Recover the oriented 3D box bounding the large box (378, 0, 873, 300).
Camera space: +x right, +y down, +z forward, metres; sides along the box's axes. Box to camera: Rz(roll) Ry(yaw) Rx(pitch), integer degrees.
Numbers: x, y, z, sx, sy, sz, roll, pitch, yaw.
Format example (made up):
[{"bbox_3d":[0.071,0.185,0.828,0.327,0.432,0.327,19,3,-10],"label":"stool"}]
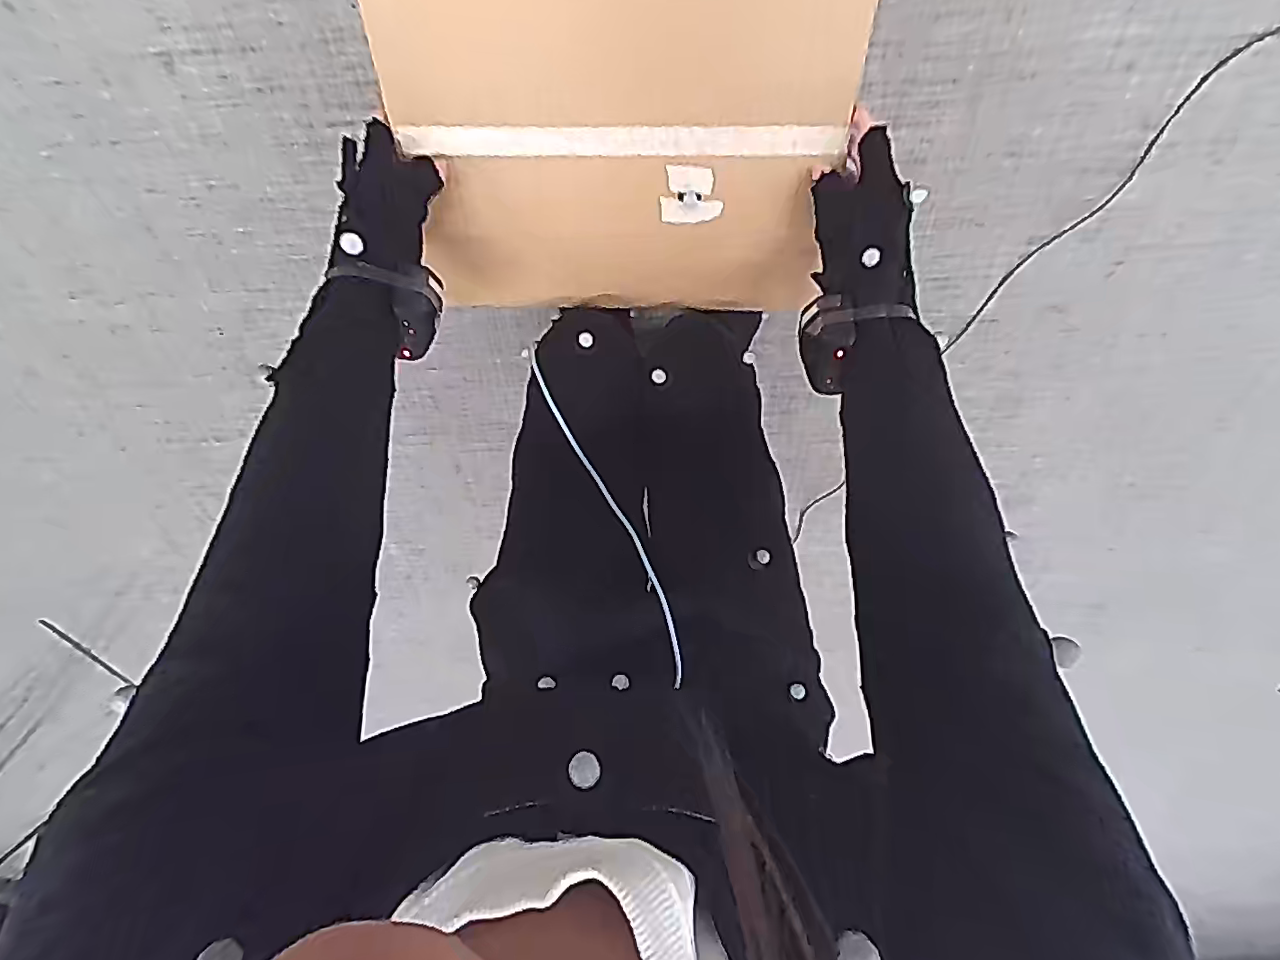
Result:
[{"bbox_3d":[-0.009,-0.411,0.602,0.408,0.320,0.320,1,132,2],"label":"large box"}]
